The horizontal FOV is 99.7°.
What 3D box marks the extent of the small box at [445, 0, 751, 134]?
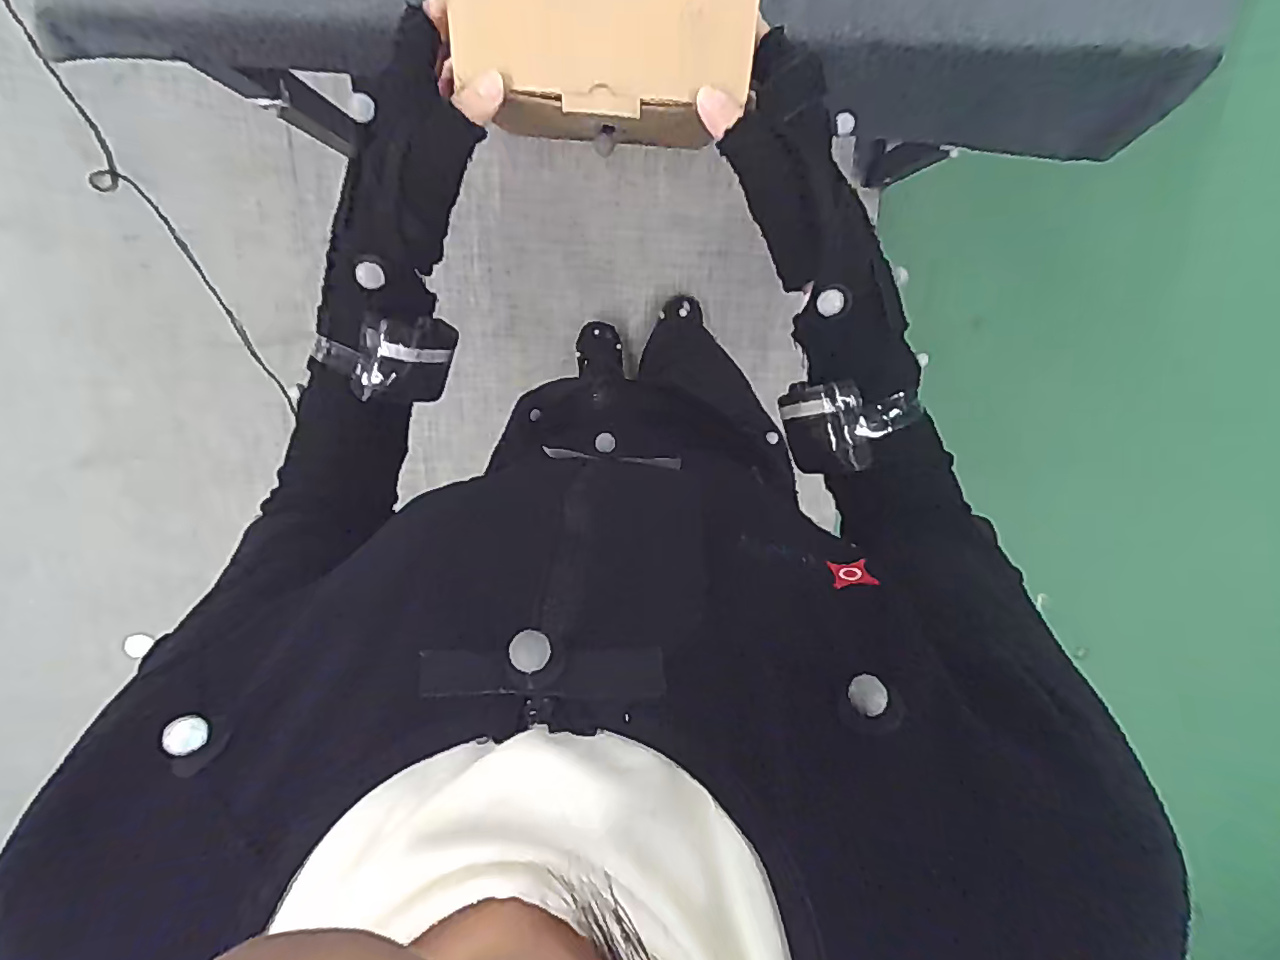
[{"bbox_3d":[-0.019,-0.329,0.338,0.168,0.176,0.179,2,116,-1],"label":"small box"}]
